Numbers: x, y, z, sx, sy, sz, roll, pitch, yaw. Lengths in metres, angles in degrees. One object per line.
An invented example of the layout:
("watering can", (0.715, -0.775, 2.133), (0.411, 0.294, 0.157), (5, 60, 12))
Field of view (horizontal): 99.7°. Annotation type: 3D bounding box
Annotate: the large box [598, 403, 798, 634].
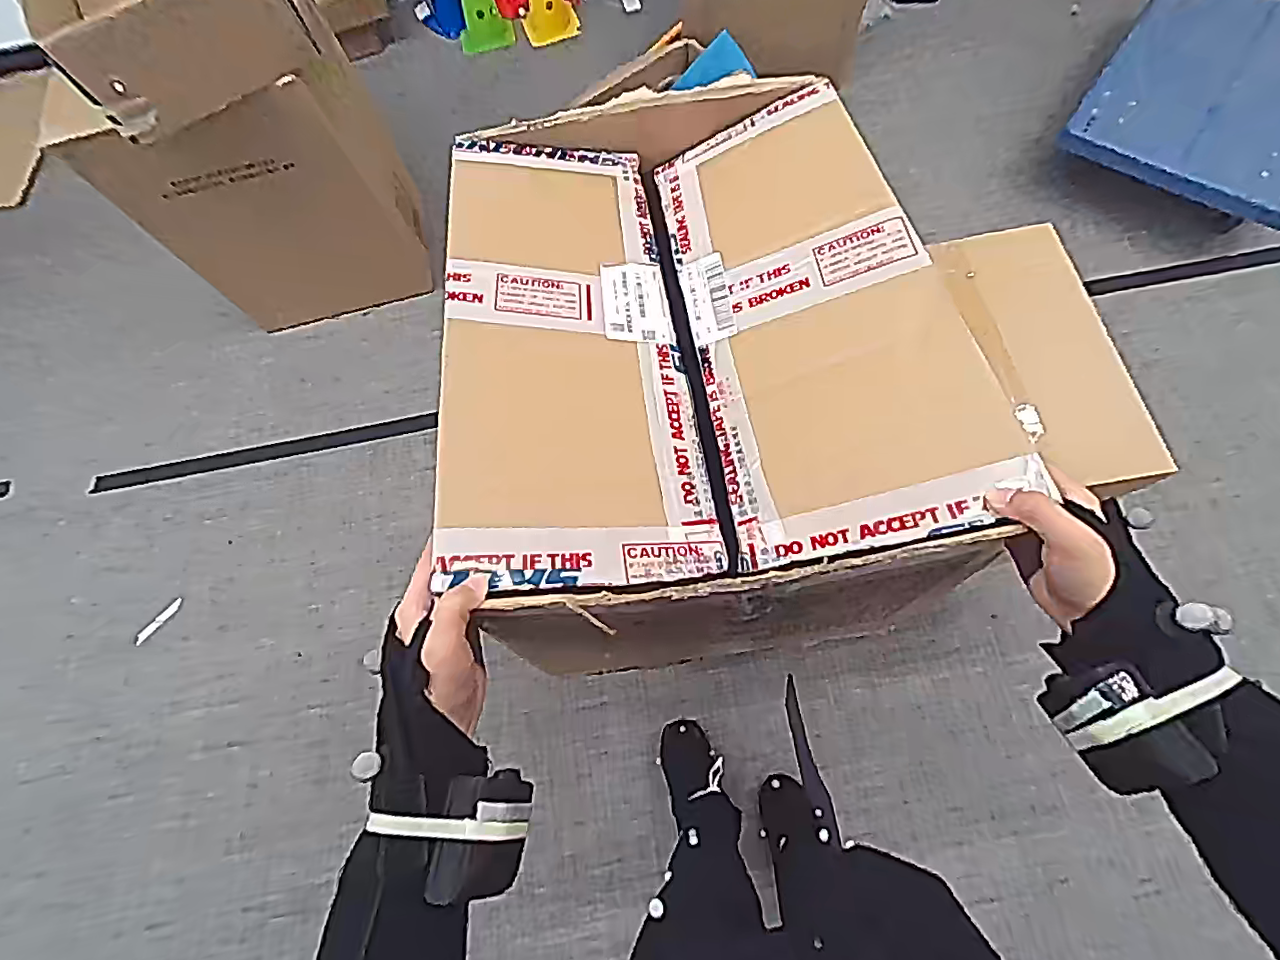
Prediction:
("large box", (0.109, 0.099, 1.183), (0.320, 0.320, 0.408), (-11, 70, 1))
